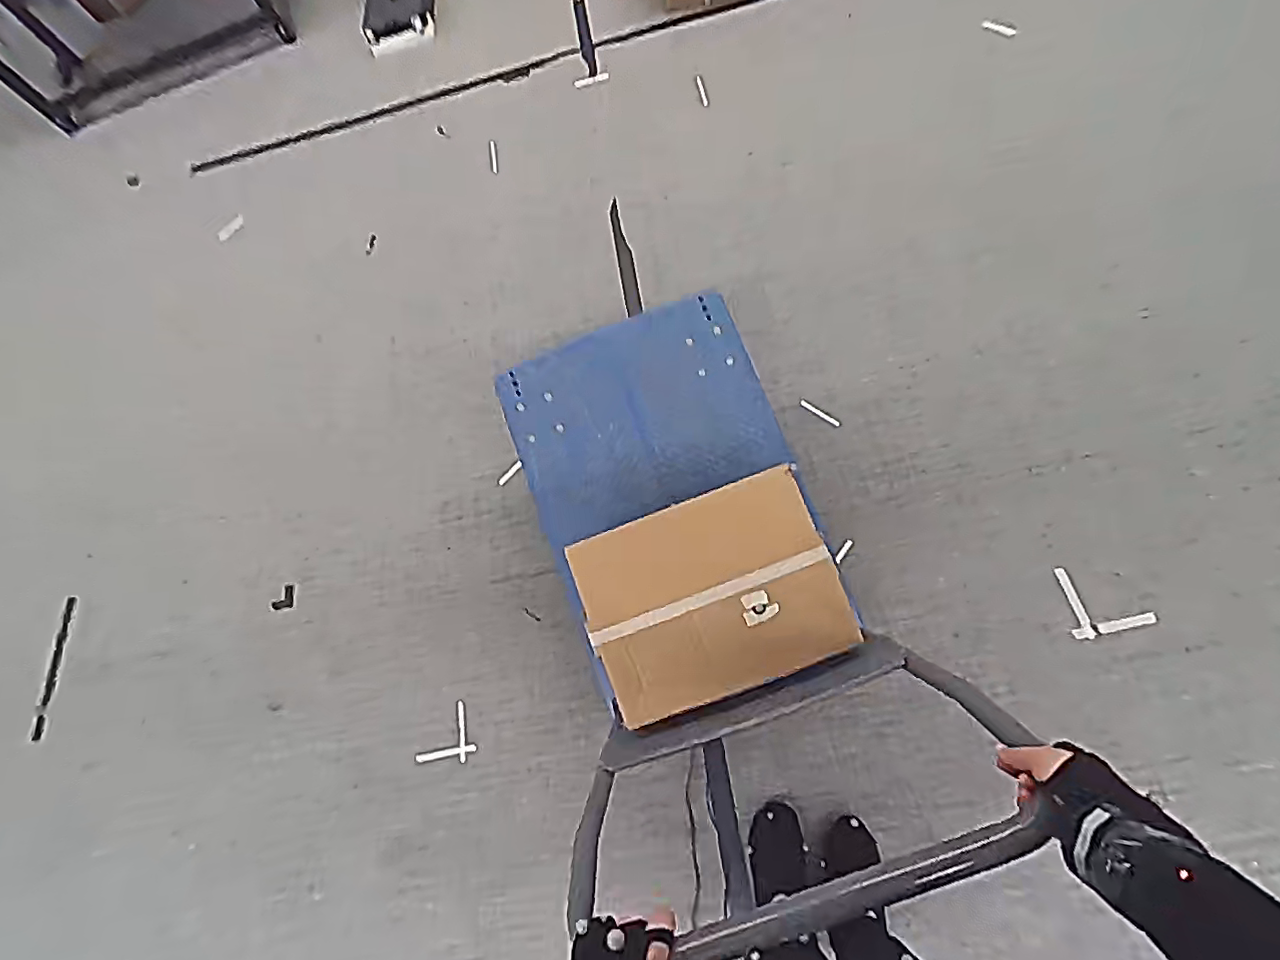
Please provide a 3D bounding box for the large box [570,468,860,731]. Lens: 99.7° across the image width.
[{"bbox_3d":[0.125,0.213,1.034,0.408,0.320,0.320,-21,83,1],"label":"large box"}]
